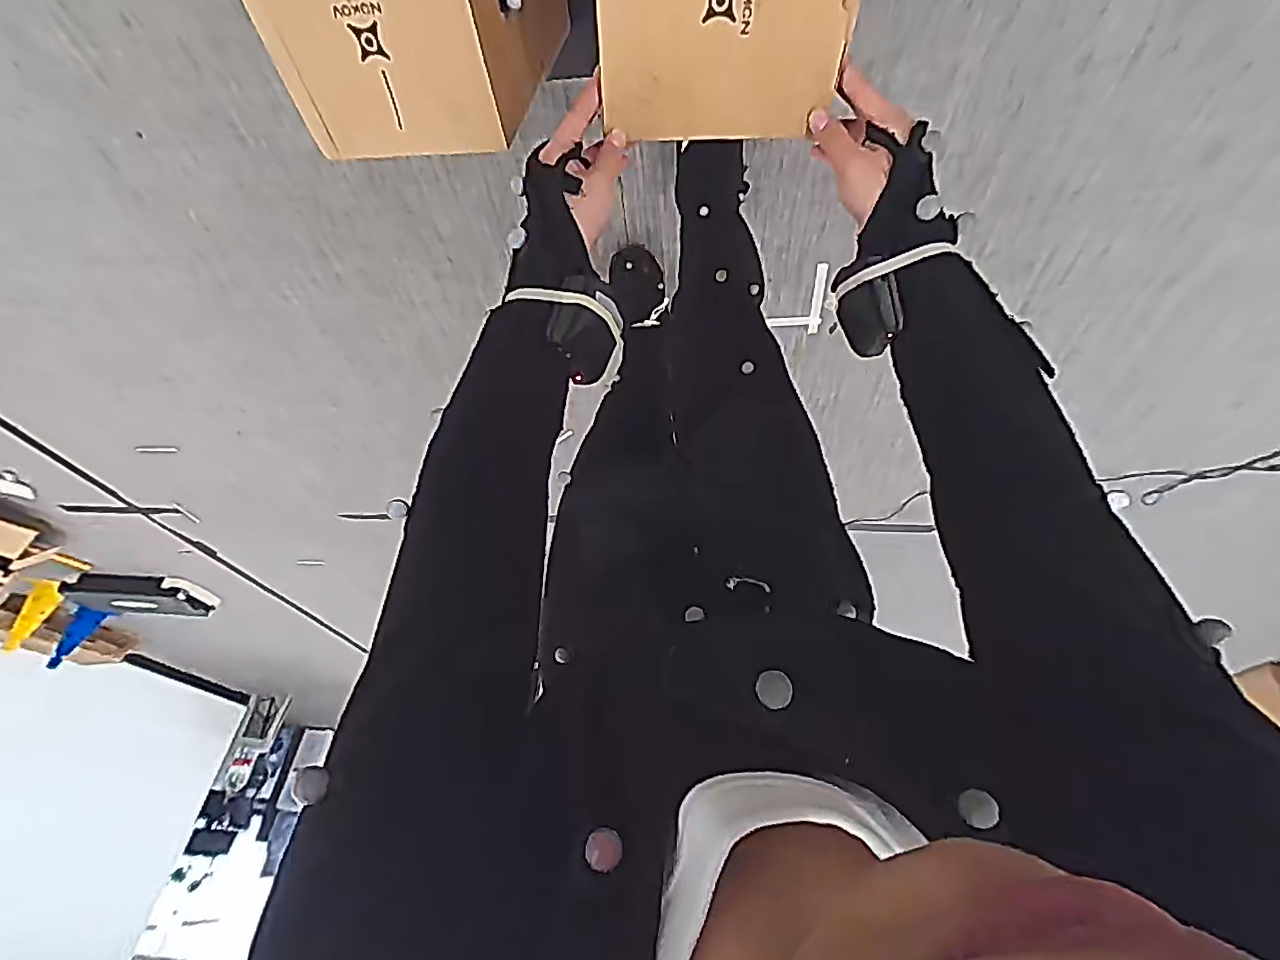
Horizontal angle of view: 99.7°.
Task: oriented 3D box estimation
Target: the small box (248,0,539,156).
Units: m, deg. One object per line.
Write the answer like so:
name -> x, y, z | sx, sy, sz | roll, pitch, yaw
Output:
small box -> -0.189, -0.392, 0.433 | 0.168, 0.176, 0.179 | 1, 144, 5

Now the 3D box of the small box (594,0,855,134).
small box -> 0.054, -0.382, 0.405 | 0.179, 0.176, 0.168 | -2, 142, -1

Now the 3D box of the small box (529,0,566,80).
small box -> -0.175, -0.523, 0.531 | 0.168, 0.176, 0.179 | 1, 144, 5
